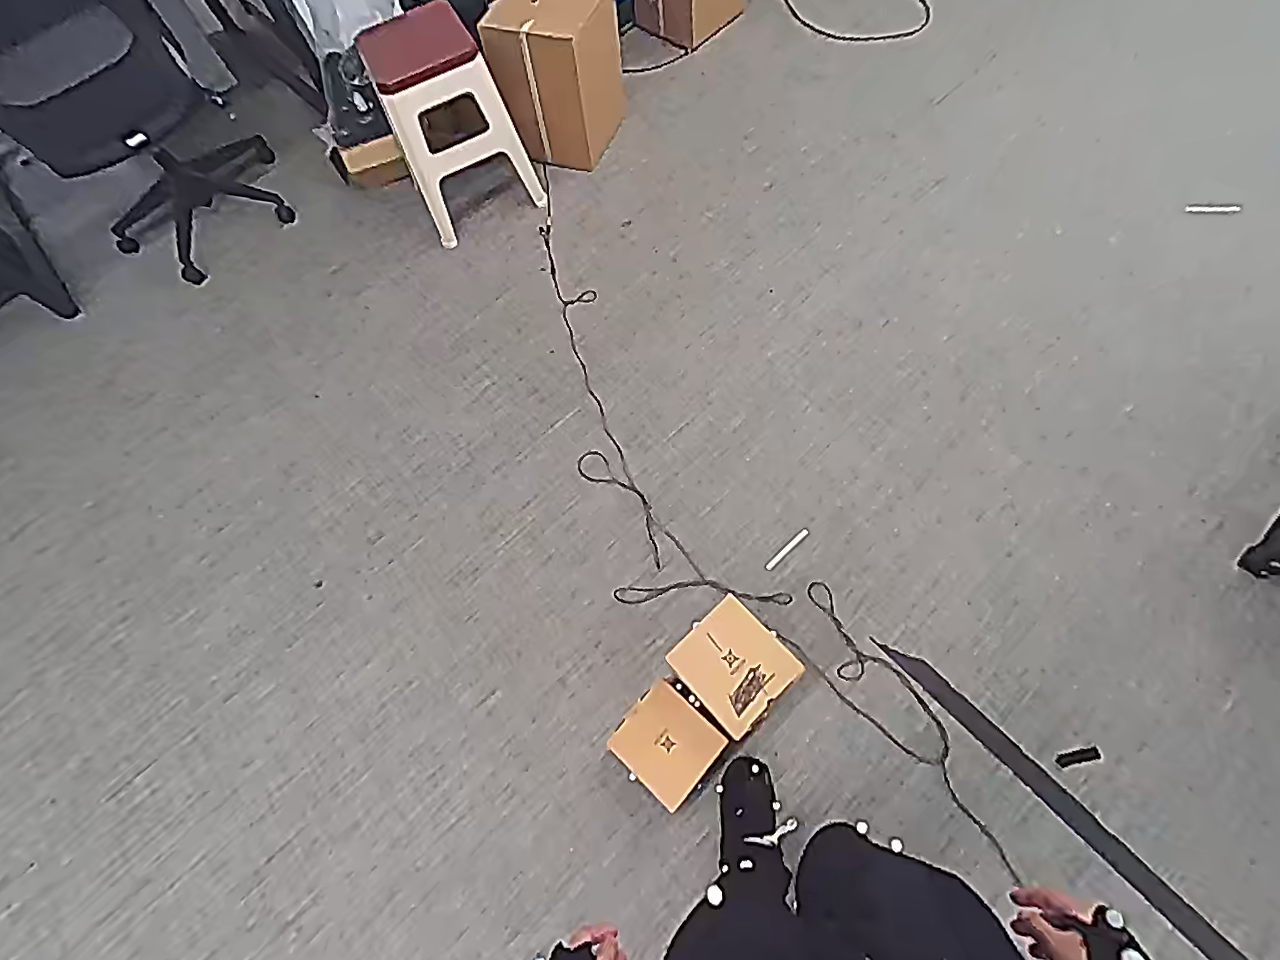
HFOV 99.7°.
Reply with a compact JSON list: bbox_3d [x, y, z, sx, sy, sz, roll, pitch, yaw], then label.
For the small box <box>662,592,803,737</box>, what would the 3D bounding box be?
[{"bbox_3d":[0.163,0.331,0.977,0.168,0.176,0.179,-41,69,-11],"label":"small box"}]
